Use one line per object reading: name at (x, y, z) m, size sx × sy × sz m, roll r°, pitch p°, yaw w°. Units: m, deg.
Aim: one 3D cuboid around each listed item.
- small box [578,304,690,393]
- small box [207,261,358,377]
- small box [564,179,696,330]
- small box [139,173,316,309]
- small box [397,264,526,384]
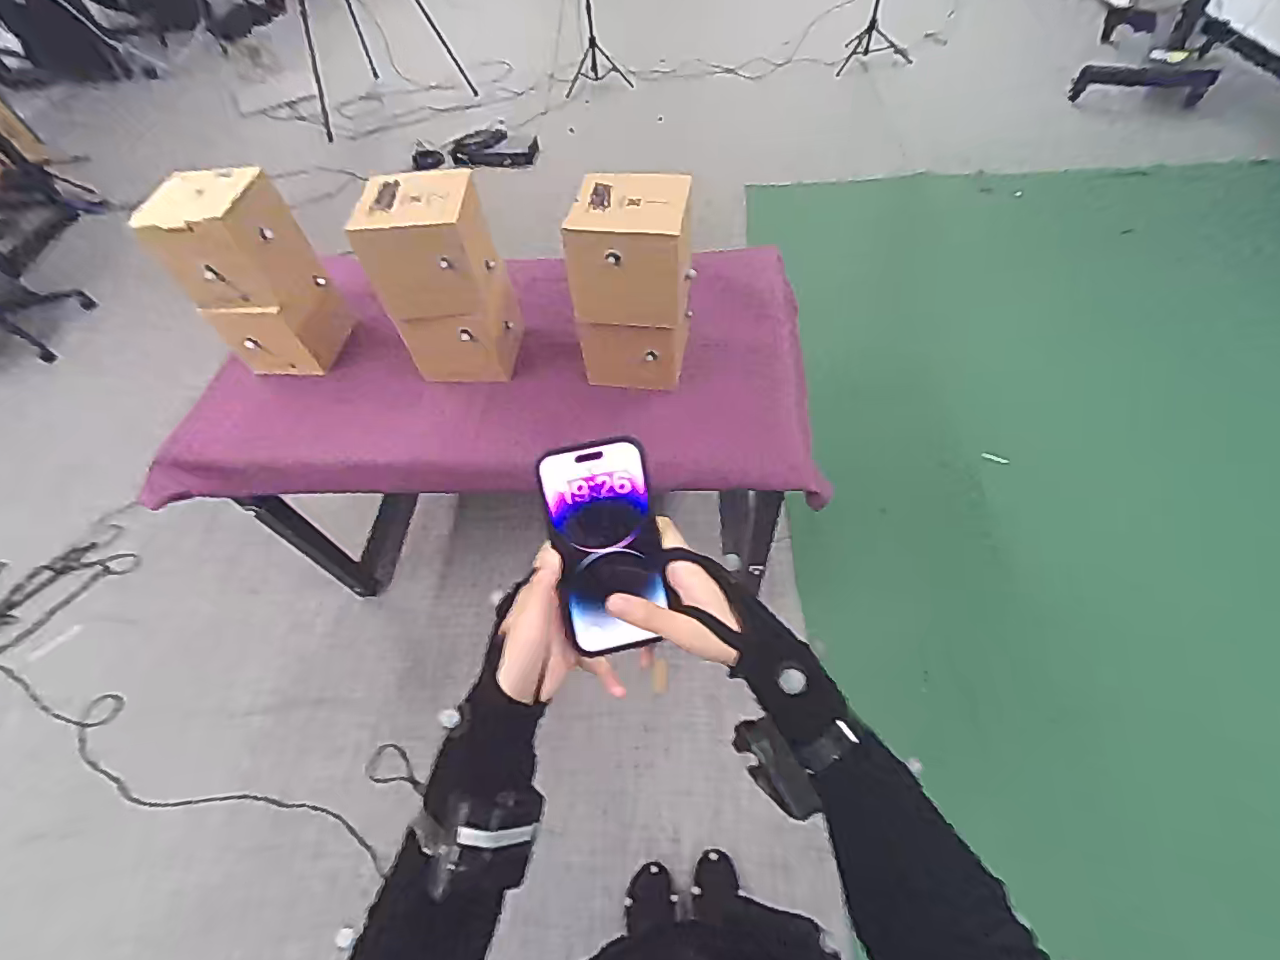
small box at (-0.001, -0.283, 1.024) m, size 0.179 × 0.176 × 0.168 m, roll 6°, pitch 56°, yaw 10°
small box at (-0.725, -0.329, 1.124) m, size 0.168 × 0.176 × 0.179 m, roll 2°, pitch 55°, yaw 7°
small box at (-0.006, -0.364, 0.881) m, size 0.179 × 0.176 × 0.168 m, roll 6°, pitch 56°, yaw 9°
small box at (-0.737, -0.430, 0.994) m, size 0.168 × 0.176 × 0.179 m, roll -2°, pitch 56°, yaw 3°
small box at (-0.338, -0.304, 1.068) m, size 0.179 × 0.176 × 0.168 m, roll 1°, pitch 55°, yaw 6°
